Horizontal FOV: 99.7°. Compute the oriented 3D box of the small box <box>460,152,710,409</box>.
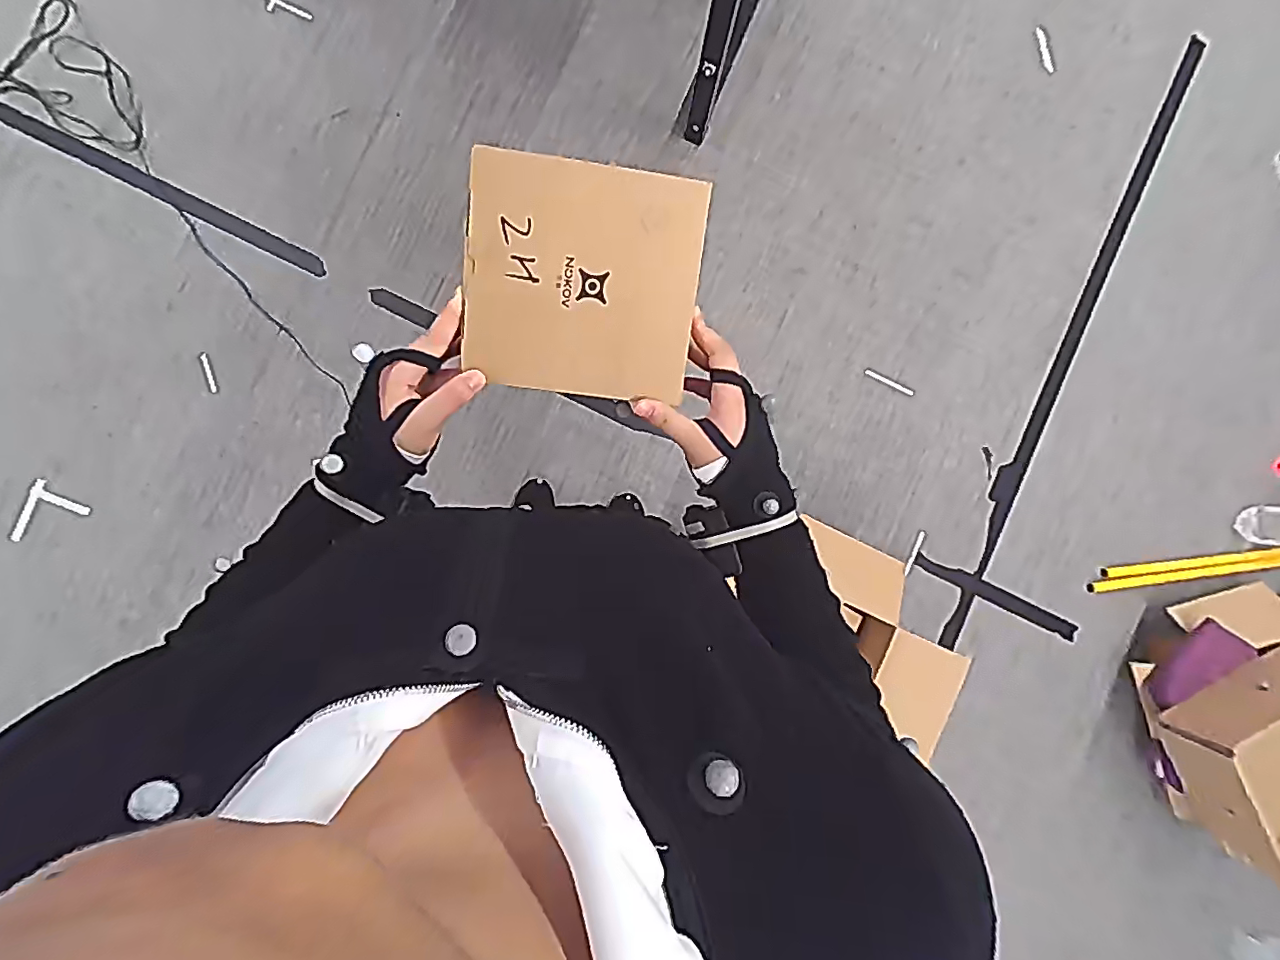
[{"bbox_3d":[-0.048,-0.163,0.484,0.179,0.176,0.168,6,102,-4],"label":"small box"}]
